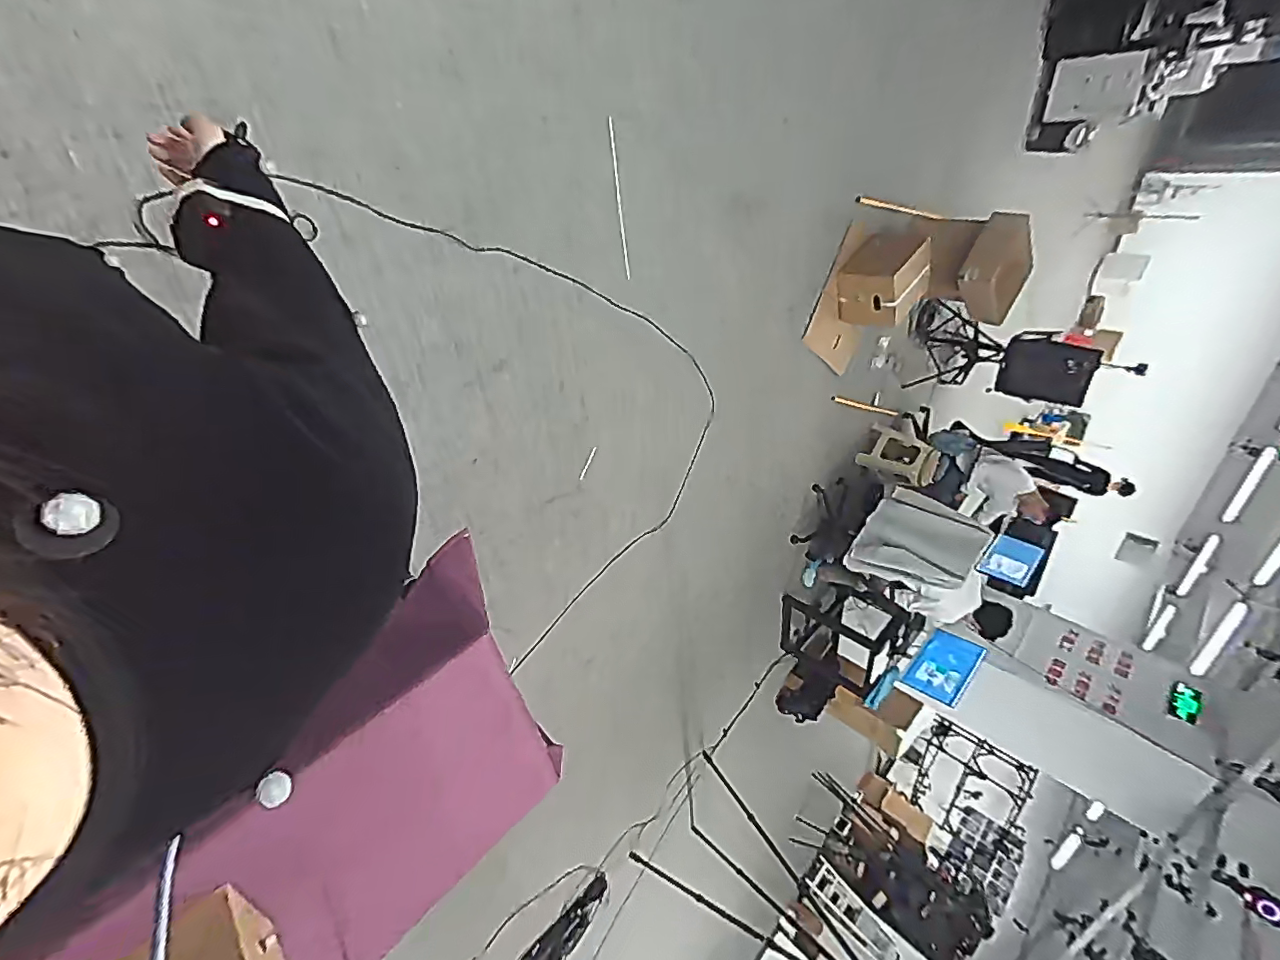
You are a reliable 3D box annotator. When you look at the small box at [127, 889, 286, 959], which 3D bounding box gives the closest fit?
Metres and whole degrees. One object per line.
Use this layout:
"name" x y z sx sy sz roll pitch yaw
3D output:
"small box" -0.623 0.744 0.770 0.179 0.176 0.168 -32 130 -35
